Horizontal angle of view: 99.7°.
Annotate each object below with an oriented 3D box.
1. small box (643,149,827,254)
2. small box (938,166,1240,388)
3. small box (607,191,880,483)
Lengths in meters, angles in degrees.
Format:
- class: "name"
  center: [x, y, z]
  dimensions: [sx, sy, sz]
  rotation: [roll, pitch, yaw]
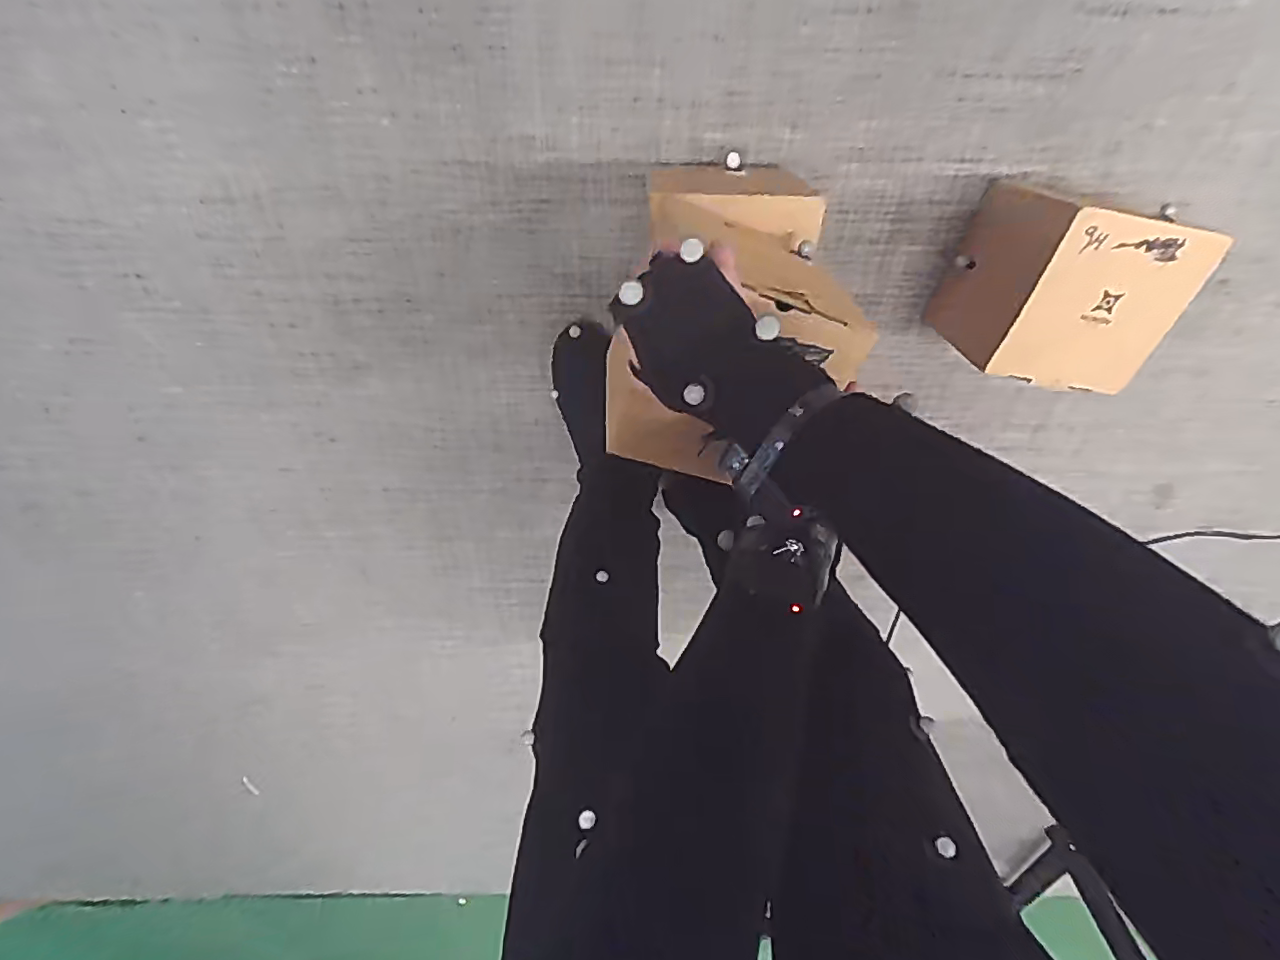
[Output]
- class: "small box"
  center: [0.088, -0.255, 0.605]
  dimensions: [0.168, 0.176, 0.179]
  rotation: [0, 128, -1]
- class: "small box"
  center: [0.477, -0.233, 0.618]
  dimensions: [0.168, 0.176, 0.179]
  rotation: [9, 128, -5]
- class: "small box"
  center: [0.073, -0.130, 0.493]
  dimensions: [0.168, 0.176, 0.179]
  rotation: [15, 132, -14]
